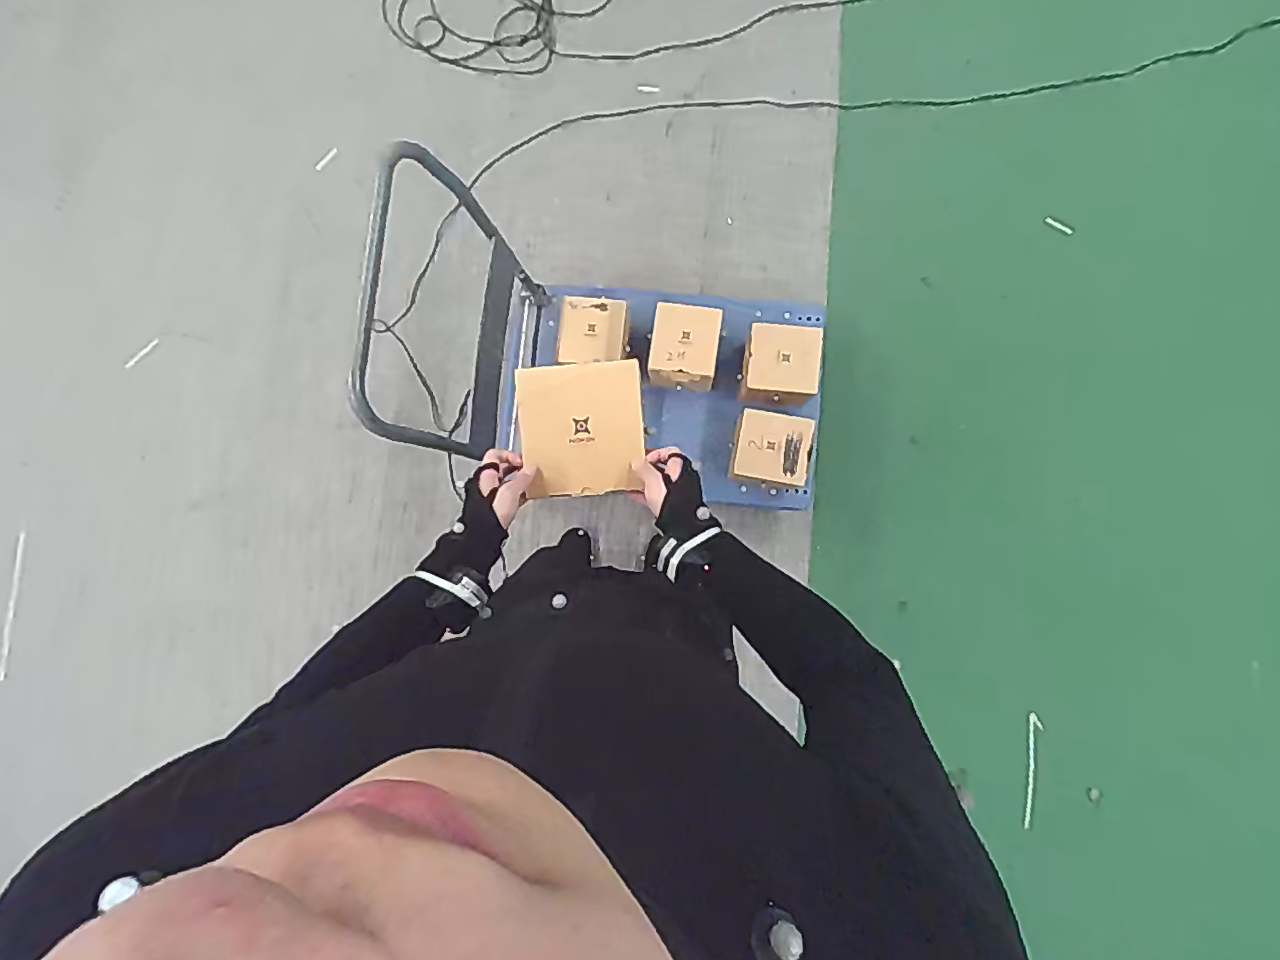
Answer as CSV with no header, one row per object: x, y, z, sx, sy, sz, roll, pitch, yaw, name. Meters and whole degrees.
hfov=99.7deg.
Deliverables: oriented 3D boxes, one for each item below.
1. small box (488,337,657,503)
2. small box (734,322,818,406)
-0.089,-0.084,0.795,0.179,0.176,0.168,27,95,-1,small box
0.344,-0.293,1.396,0.179,0.176,0.168,7,87,4,small box
